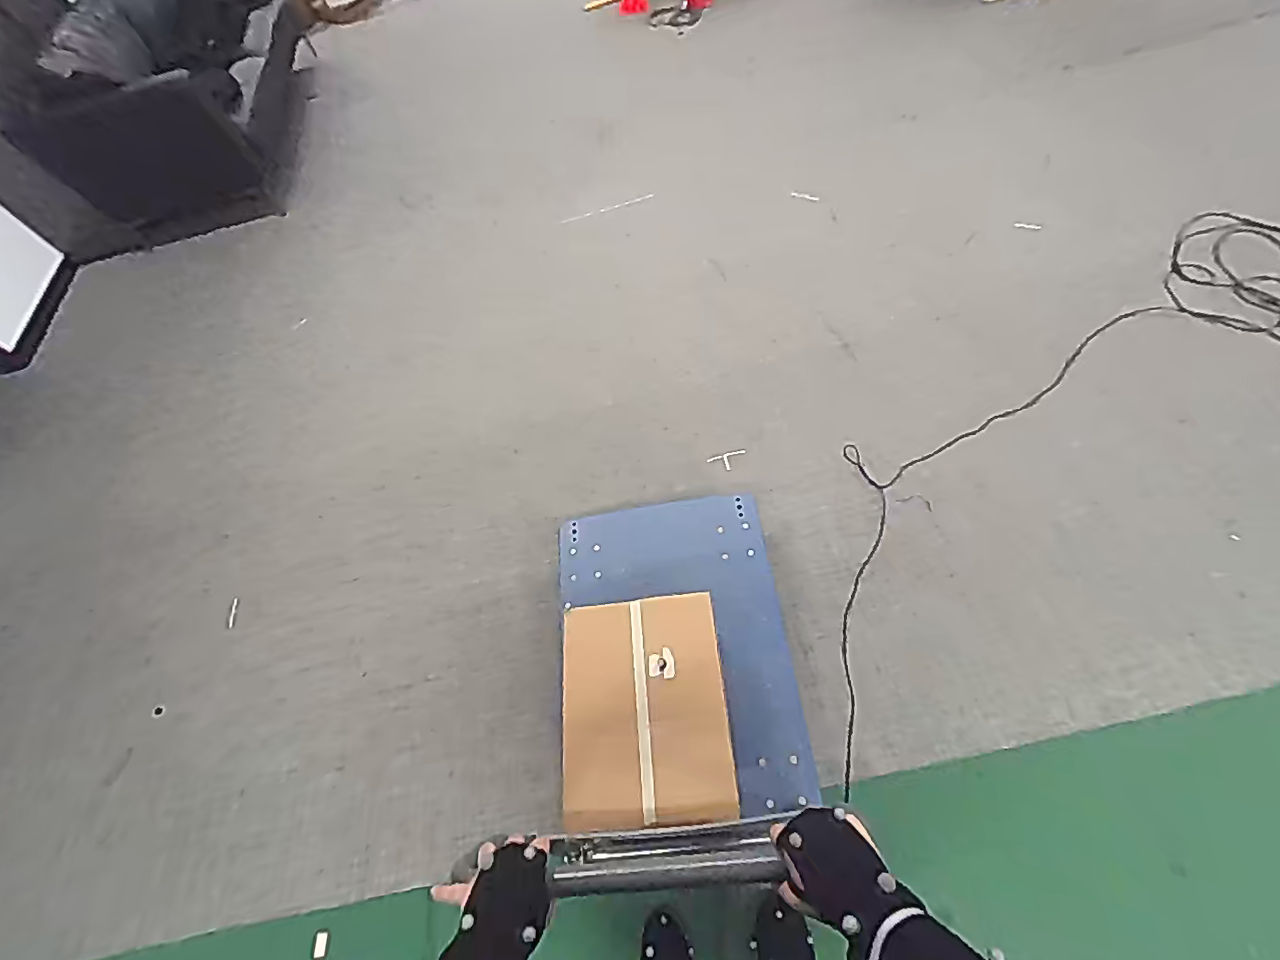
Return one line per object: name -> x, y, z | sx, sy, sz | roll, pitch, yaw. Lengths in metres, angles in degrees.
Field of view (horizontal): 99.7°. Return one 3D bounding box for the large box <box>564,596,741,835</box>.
large box -> 0.029, 0.507, 1.160 | 0.320, 0.320, 0.408 | -8, 58, 5
